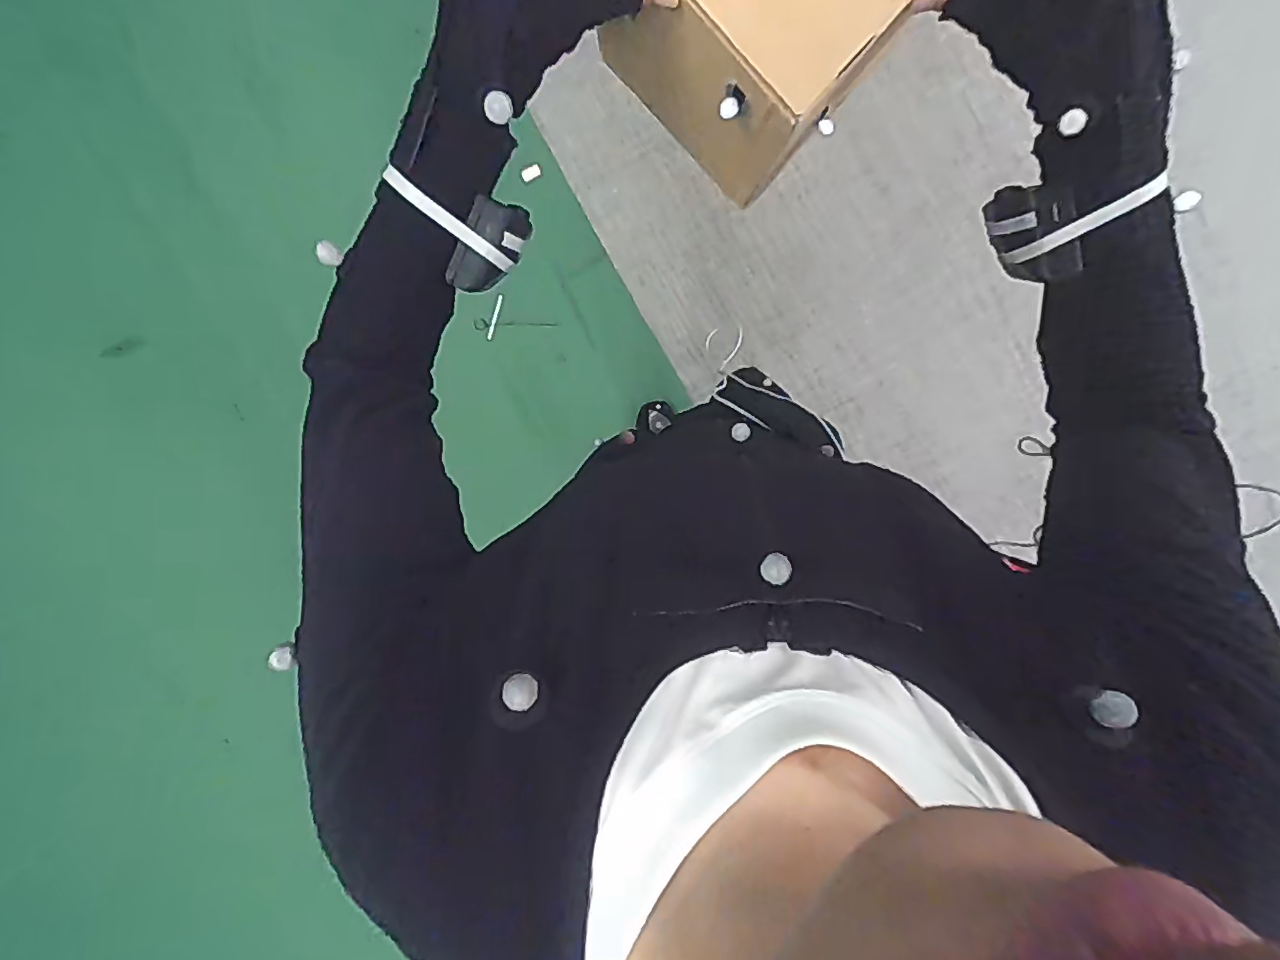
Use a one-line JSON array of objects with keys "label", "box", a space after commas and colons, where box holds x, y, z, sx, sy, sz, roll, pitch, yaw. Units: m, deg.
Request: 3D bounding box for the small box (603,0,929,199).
[{"label": "small box", "box": [0.084, -0.340, 0.378, 0.179, 0.176, 0.168, 44, 97, -8]}]
